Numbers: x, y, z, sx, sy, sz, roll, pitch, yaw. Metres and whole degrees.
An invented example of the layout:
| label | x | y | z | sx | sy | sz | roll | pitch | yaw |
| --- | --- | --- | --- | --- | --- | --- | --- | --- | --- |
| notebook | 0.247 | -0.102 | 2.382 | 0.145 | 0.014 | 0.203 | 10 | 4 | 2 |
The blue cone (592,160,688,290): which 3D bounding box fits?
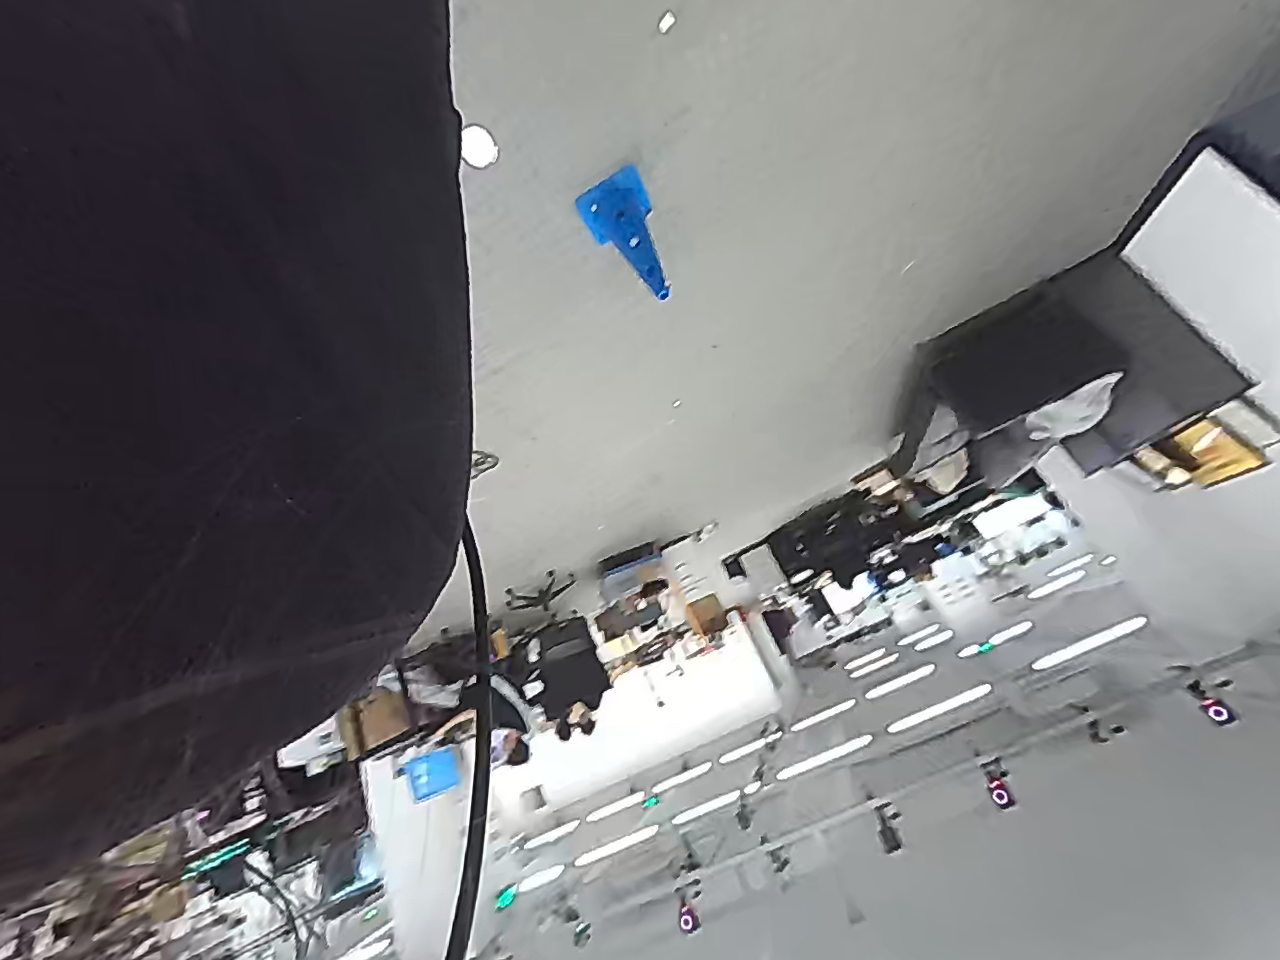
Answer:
| label | x | y | z | sx | sy | sz | roll | pitch | yaw |
| --- | --- | --- | --- | --- | --- | --- | --- | --- | --- |
| blue cone | 0.029 | -0.664 | 1.491 | 0.192 | 0.380 | 0.193 | -29 | 158 | 9 |
